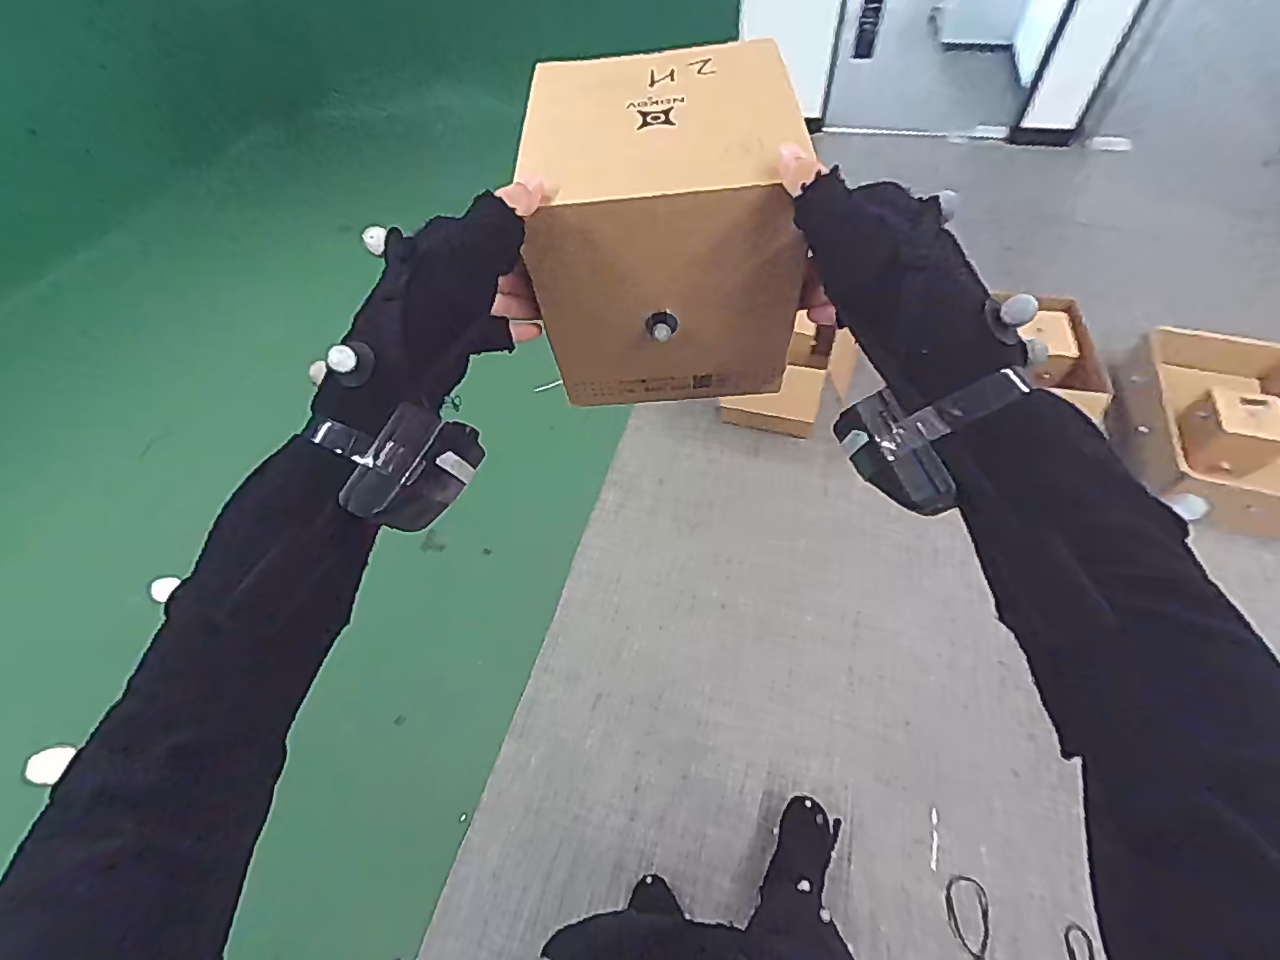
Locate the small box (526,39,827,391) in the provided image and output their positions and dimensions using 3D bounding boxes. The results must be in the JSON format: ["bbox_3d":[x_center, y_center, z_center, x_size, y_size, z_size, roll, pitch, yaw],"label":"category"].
[{"bbox_3d":[0.027,-0.179,0.397,0.168,0.176,0.179,-3,58,5],"label":"small box"}]

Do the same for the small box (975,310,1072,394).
[{"bbox_3d":[1.119,-0.374,1.592,0.168,0.176,0.179,7,58,9],"label":"small box"}]

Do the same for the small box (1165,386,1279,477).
[{"bbox_3d":[1.665,-0.137,1.547,0.168,0.176,0.179,13,57,13],"label":"small box"}]
